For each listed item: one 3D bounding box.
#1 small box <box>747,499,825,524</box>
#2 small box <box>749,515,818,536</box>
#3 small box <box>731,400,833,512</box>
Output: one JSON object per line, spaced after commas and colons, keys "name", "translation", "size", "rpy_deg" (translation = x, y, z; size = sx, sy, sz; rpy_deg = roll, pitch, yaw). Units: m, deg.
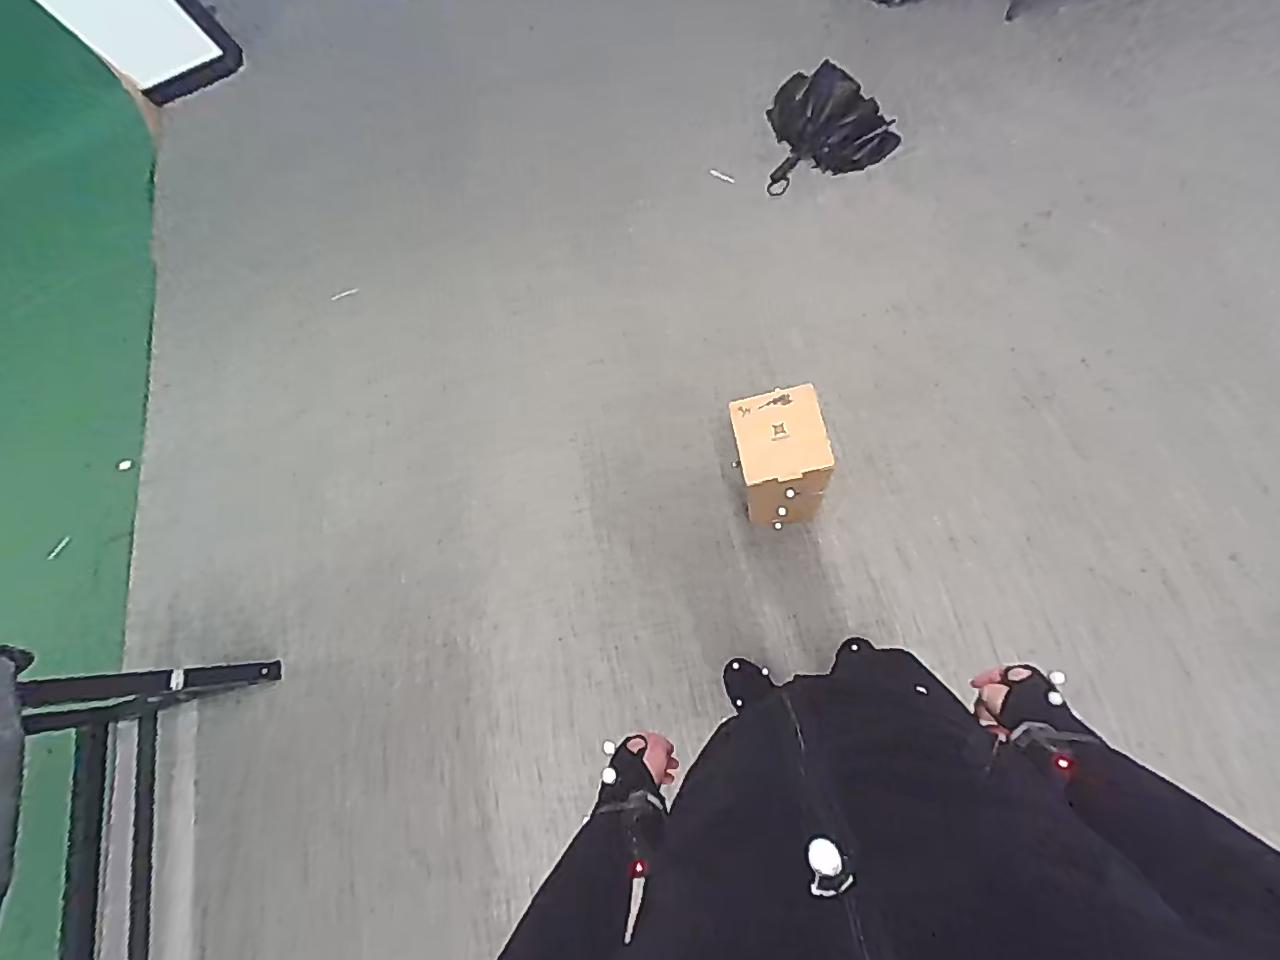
{"name": "small box", "translation": [0.332, 0.000, 1.258], "size": [0.168, 0.176, 0.179], "rpy_deg": [-3, 74, 13]}
{"name": "small box", "translation": [0.366, 0.045, 1.413], "size": [0.168, 0.176, 0.179], "rpy_deg": [-4, 74, 13]}
{"name": "small box", "translation": [0.287, -0.039, 1.106], "size": [0.168, 0.176, 0.179], "rpy_deg": [-12, 72, 10]}
